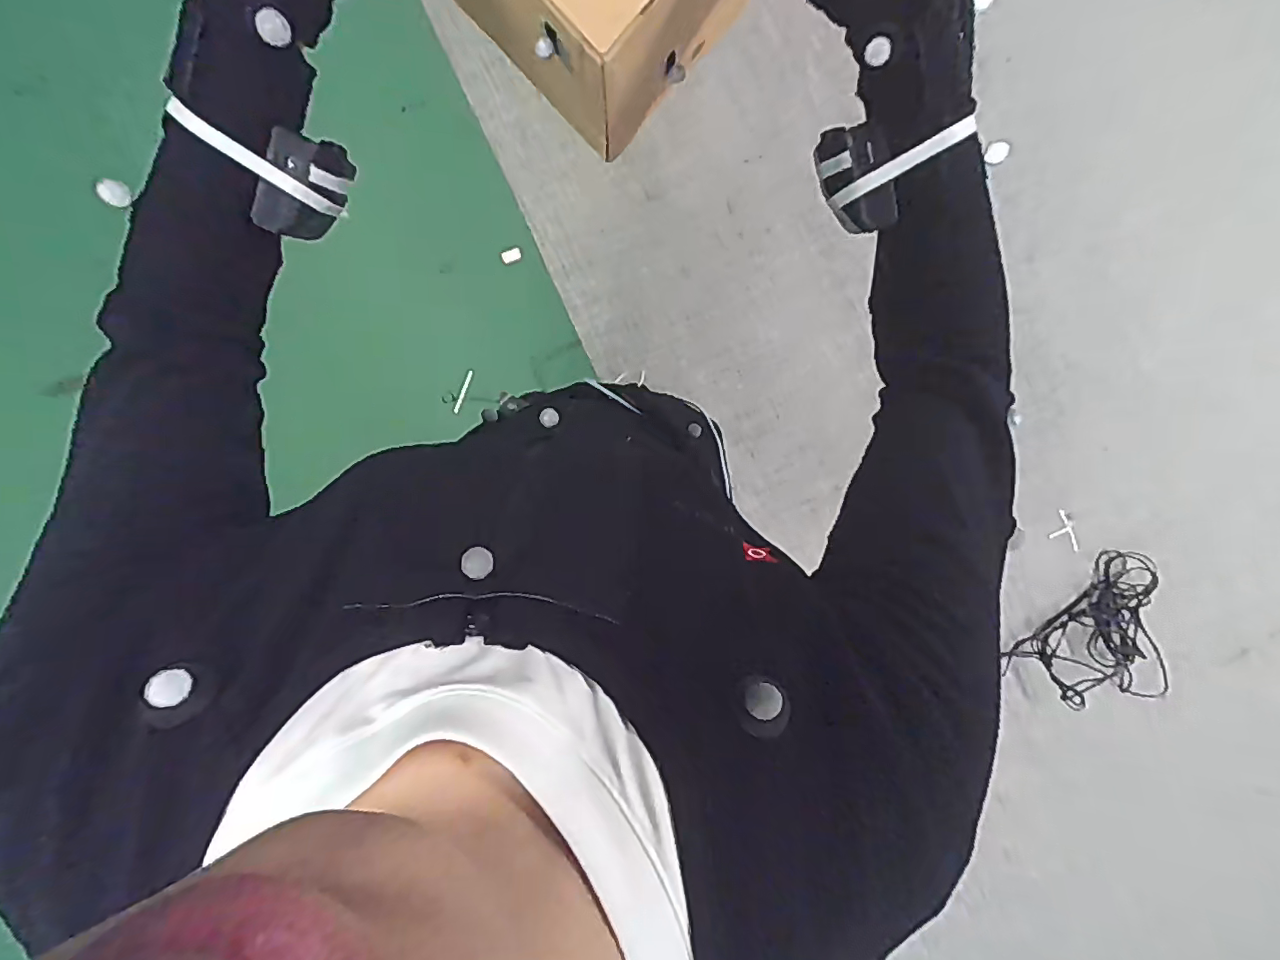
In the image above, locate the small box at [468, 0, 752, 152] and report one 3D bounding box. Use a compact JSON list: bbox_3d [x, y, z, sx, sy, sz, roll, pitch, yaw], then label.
[{"bbox_3d":[-0.023,-0.369,0.362,0.179,0.176,0.168,43,98,-11],"label":"small box"}]
